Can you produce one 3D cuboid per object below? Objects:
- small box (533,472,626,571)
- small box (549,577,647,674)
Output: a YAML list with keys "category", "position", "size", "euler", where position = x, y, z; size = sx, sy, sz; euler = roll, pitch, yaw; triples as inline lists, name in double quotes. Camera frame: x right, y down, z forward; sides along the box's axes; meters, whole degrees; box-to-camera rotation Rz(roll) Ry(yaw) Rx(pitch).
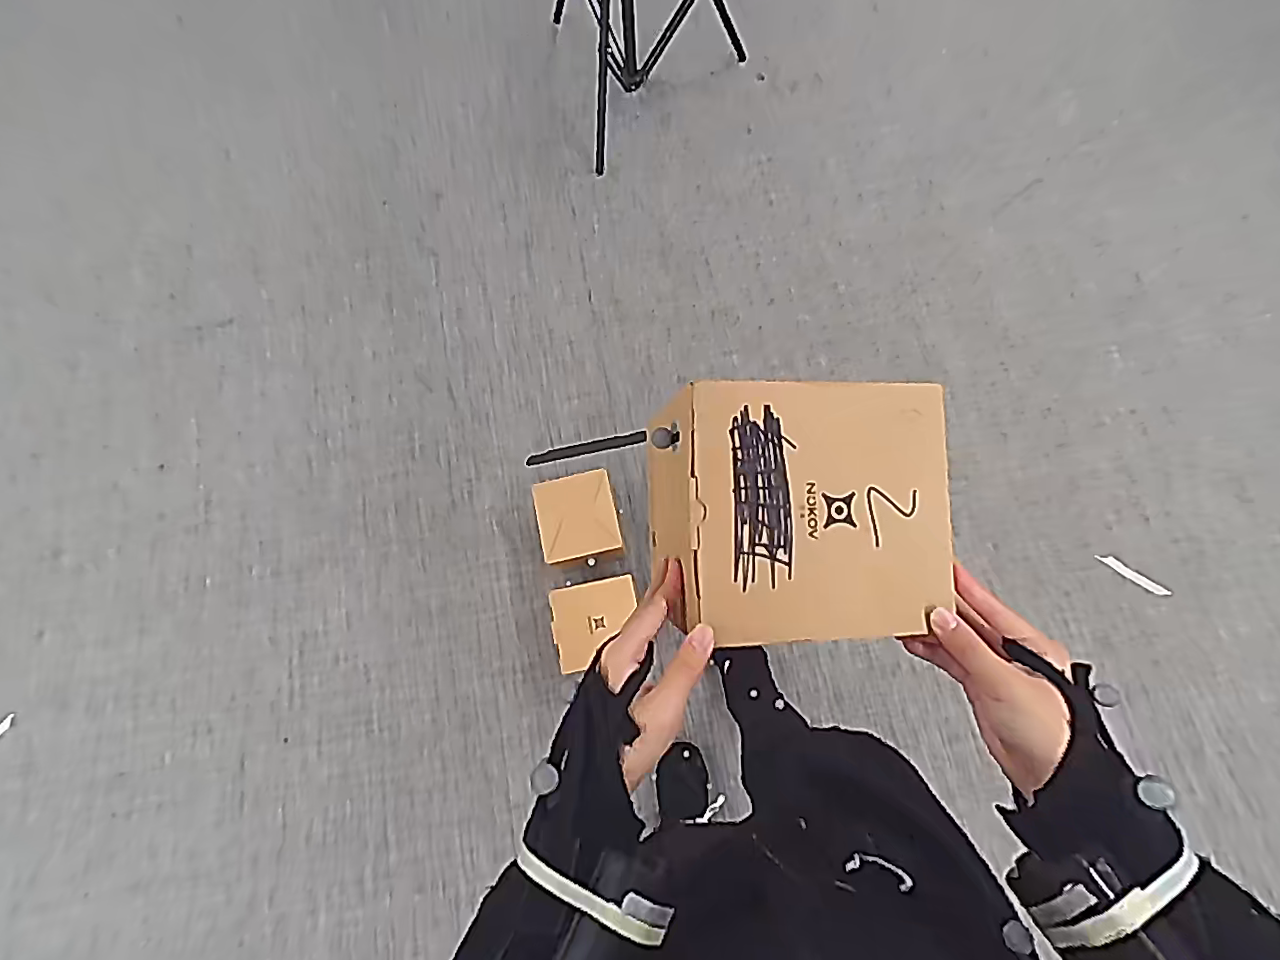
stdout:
- category: "small box"
  position: [-0.133, 0.095, 1.212]
  size: [0.168, 0.176, 0.179]
  euler: [-13, 75, -1]
- category: "small box"
  position: [-0.085, 0.308, 1.161]
  size: [0.179, 0.176, 0.168]
  euler: [-12, 75, -1]
